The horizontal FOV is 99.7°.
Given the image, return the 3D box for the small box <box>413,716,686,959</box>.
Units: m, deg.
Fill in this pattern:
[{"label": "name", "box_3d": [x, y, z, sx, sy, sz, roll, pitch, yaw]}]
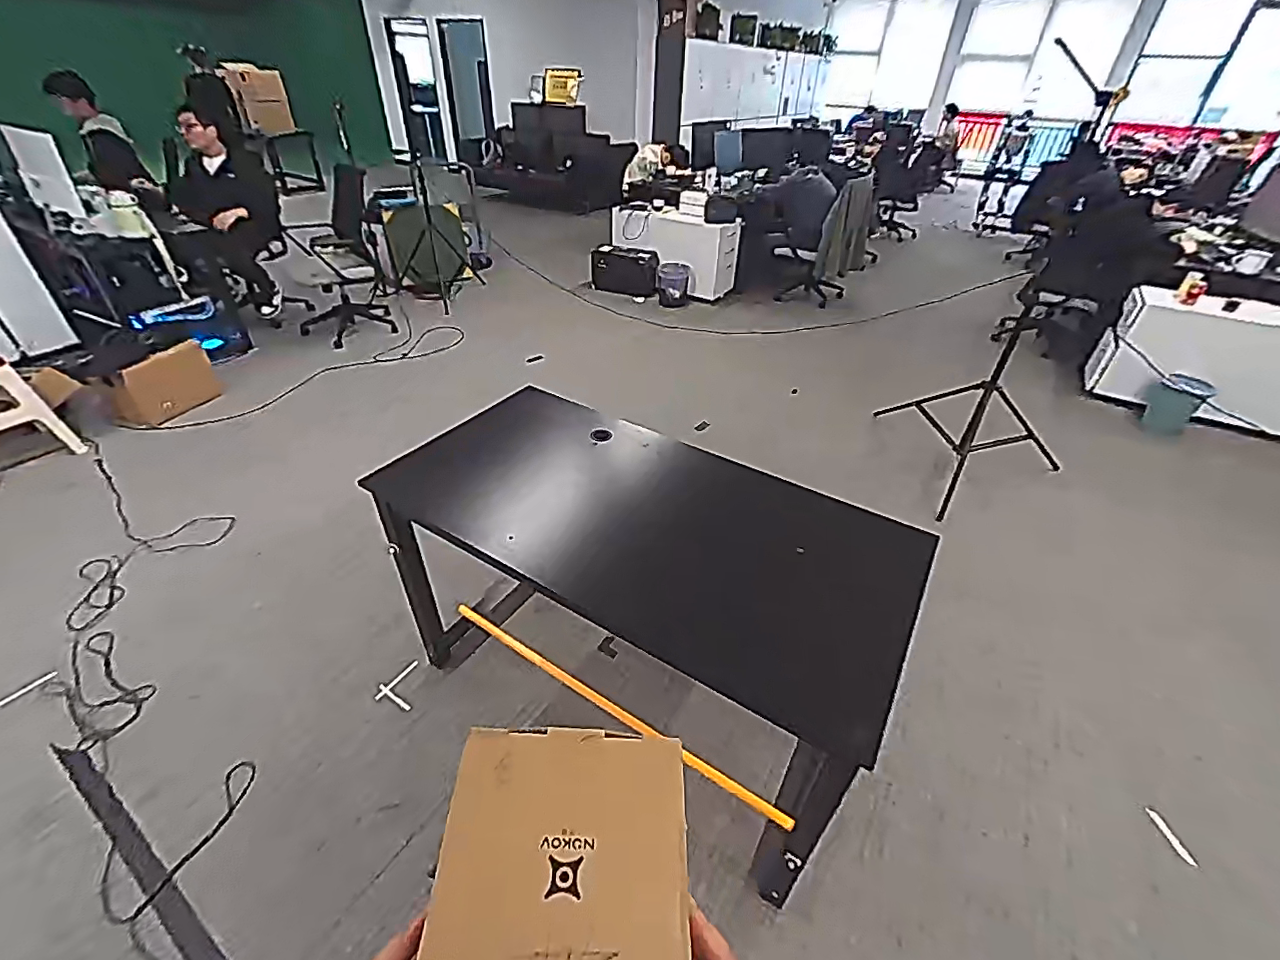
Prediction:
[{"label": "small box", "box_3d": [-0.062, 0.306, 0.418, 0.168, 0.176, 0.179, 5, 46, -4]}]
